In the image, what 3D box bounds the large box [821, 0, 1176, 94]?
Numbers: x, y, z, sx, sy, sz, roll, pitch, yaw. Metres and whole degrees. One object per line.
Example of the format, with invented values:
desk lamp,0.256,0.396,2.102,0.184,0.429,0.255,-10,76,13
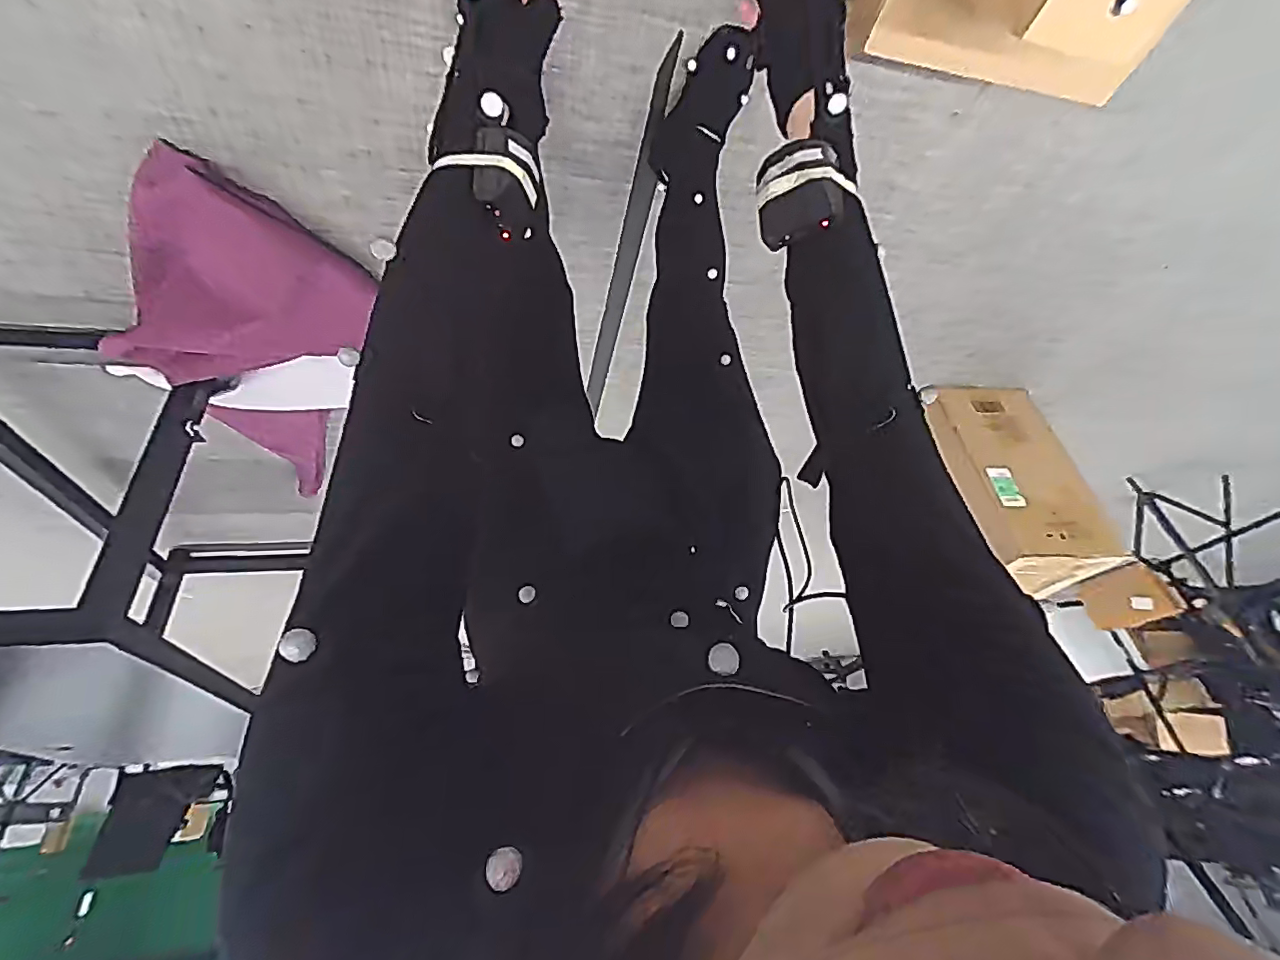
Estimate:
large box,0.476,-0.758,0.688,0.408,0.320,0.320,-1,148,-15
